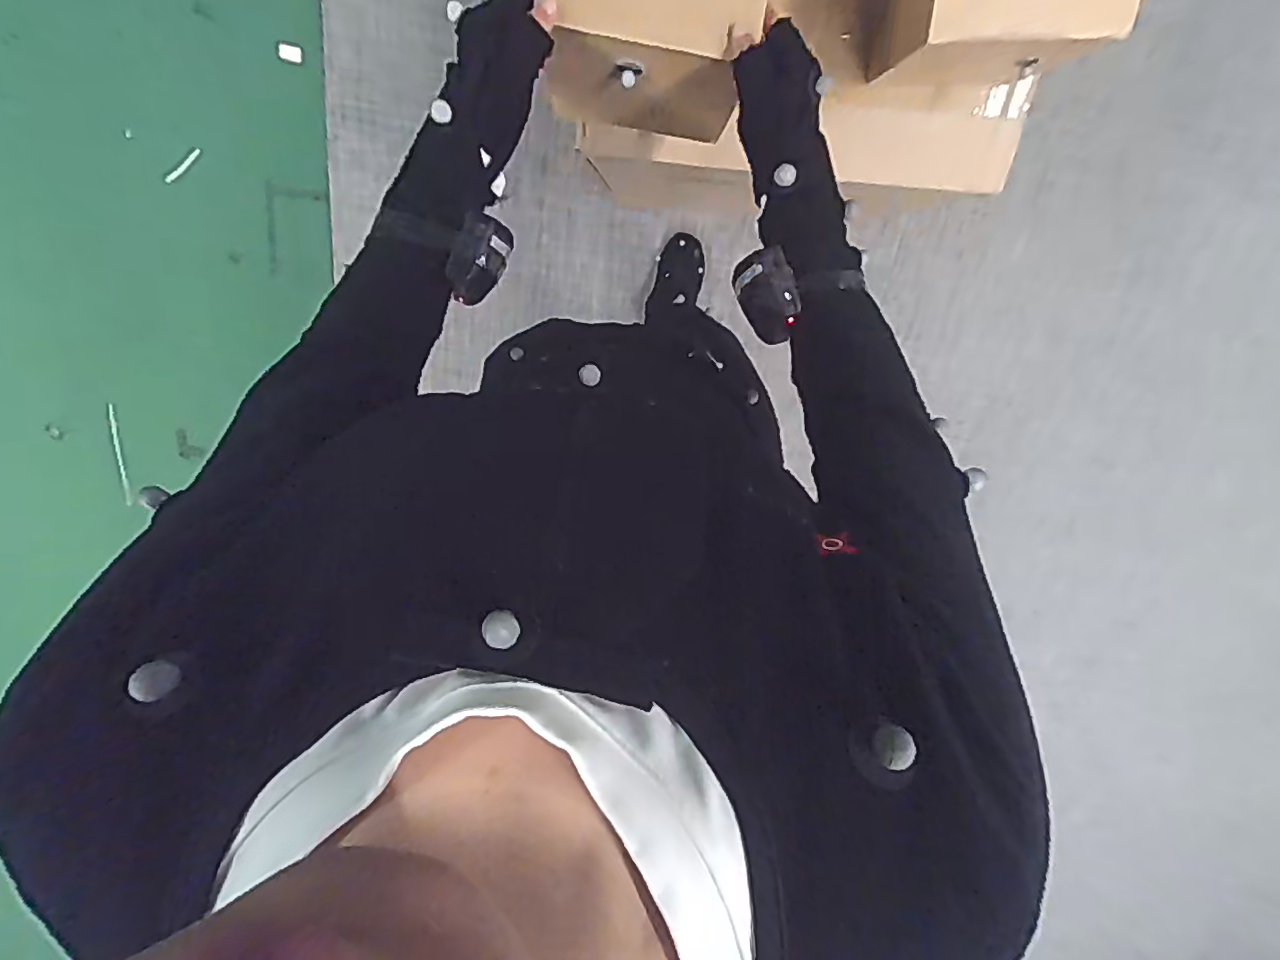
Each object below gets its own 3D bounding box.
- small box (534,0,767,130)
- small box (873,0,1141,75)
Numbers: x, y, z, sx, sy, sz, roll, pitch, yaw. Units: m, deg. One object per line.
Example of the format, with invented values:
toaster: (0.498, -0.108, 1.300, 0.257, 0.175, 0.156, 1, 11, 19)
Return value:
small box: (0.016, -0.437, 0.471, 0.179, 0.176, 0.168, 8, 104, -4)
small box: (0.343, -0.502, 0.507, 0.179, 0.176, 0.168, 0, 116, 5)
